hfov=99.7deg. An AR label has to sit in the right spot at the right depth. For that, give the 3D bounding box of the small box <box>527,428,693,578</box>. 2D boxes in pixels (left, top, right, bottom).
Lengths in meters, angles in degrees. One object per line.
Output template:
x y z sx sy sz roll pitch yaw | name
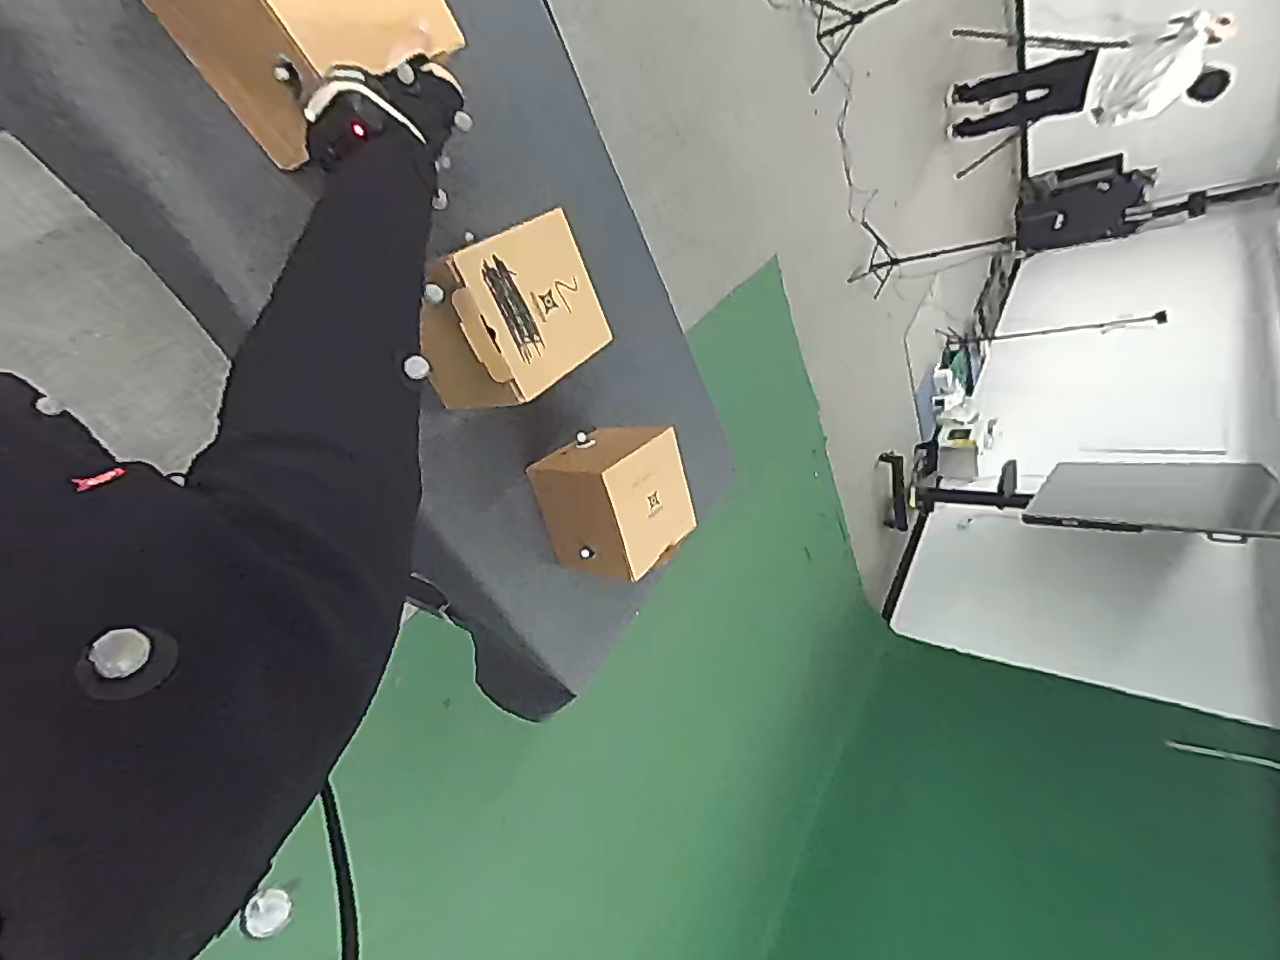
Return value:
-0.046 0.026 0.847 0.168 0.176 0.179 -35 118 -42 | small box

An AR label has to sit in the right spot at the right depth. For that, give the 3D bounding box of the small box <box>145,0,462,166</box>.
-0.312 -0.433 0.498 0.168 0.176 0.179 -57 133 -29 | small box
